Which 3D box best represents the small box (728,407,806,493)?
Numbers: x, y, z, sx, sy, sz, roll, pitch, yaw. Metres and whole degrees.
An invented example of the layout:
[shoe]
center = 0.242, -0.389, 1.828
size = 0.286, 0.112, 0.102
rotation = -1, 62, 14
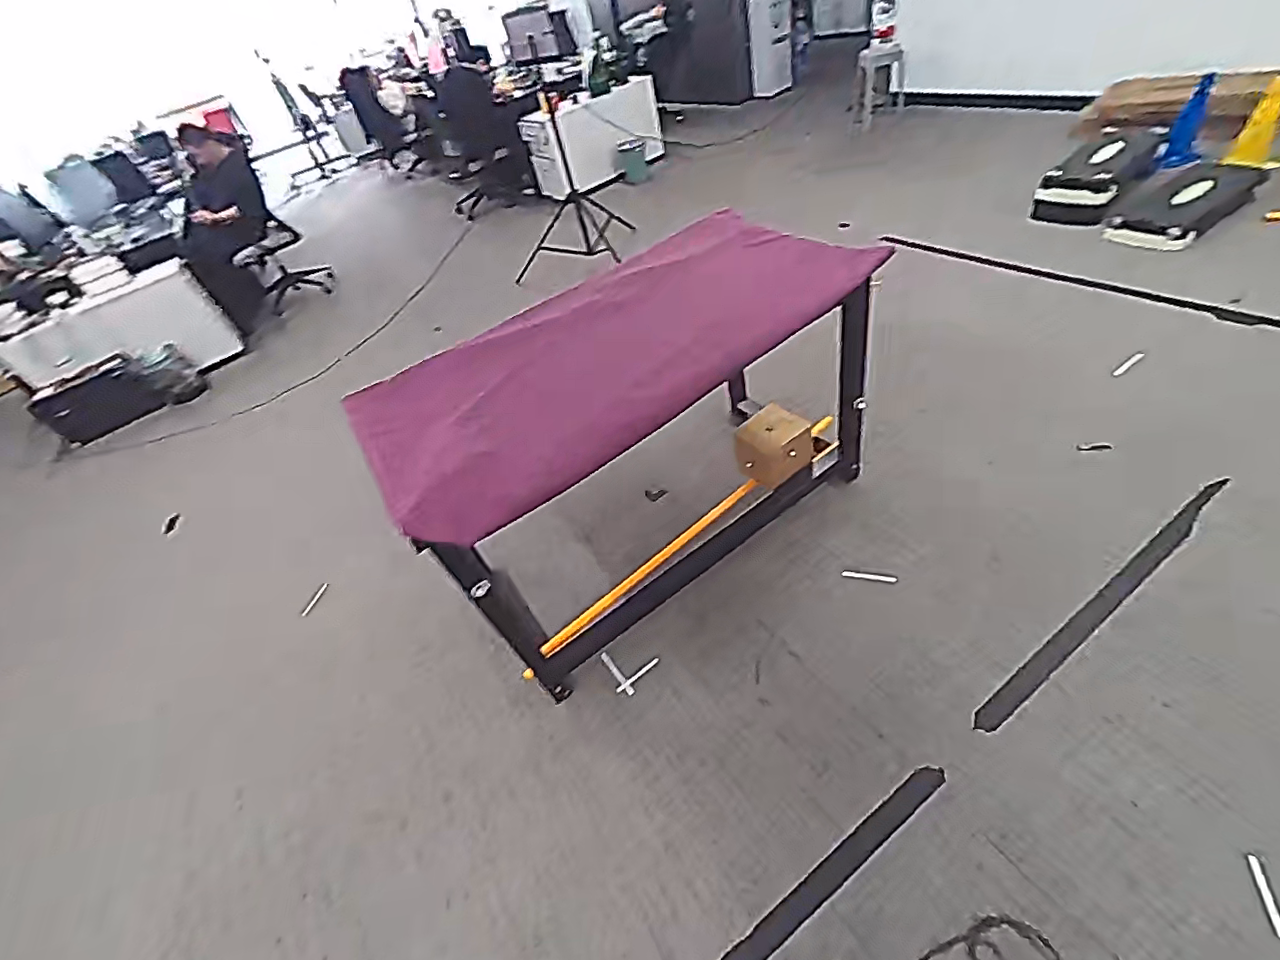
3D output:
[small box]
center = 0.399, -0.089, 1.678
size = 0.179, 0.176, 0.168
rotation = -35, 47, -16
